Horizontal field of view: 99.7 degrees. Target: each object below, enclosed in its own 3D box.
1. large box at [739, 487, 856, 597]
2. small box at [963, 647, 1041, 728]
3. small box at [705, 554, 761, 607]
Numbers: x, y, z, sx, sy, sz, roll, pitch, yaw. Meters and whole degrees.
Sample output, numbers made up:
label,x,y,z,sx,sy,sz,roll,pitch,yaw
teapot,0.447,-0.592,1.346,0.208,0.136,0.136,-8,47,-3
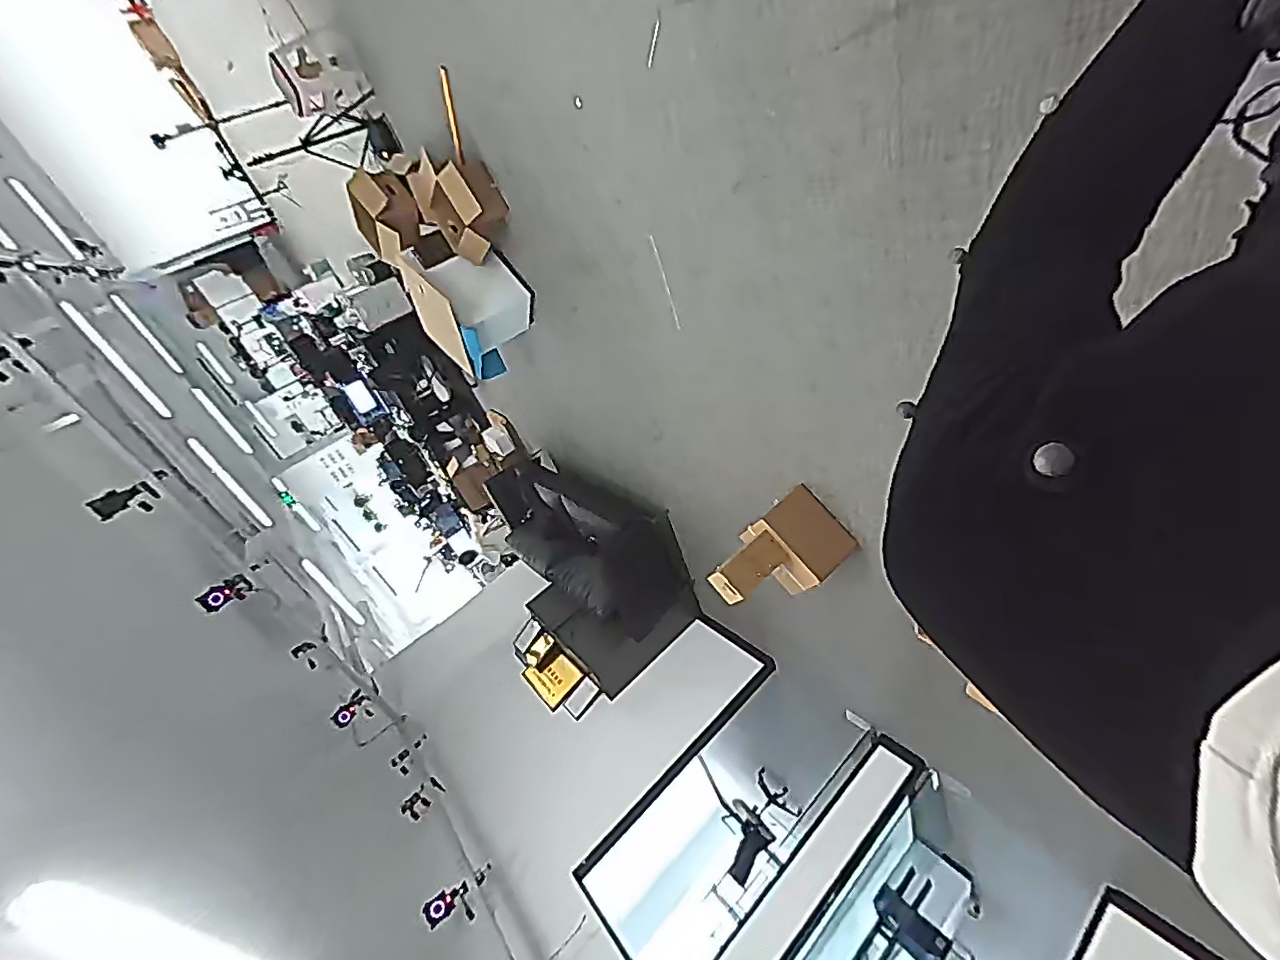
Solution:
label,x,y,z,sx,sy,sz,roll,pitch,yaw
large box,0.783,0.313,2.723,0.408,0.320,0.320,48,157,10
small box,1.312,0.750,1.961,0.168,0.176,0.179,35,150,42
small box,0.441,0.471,2.542,0.168,0.176,0.179,49,157,9
